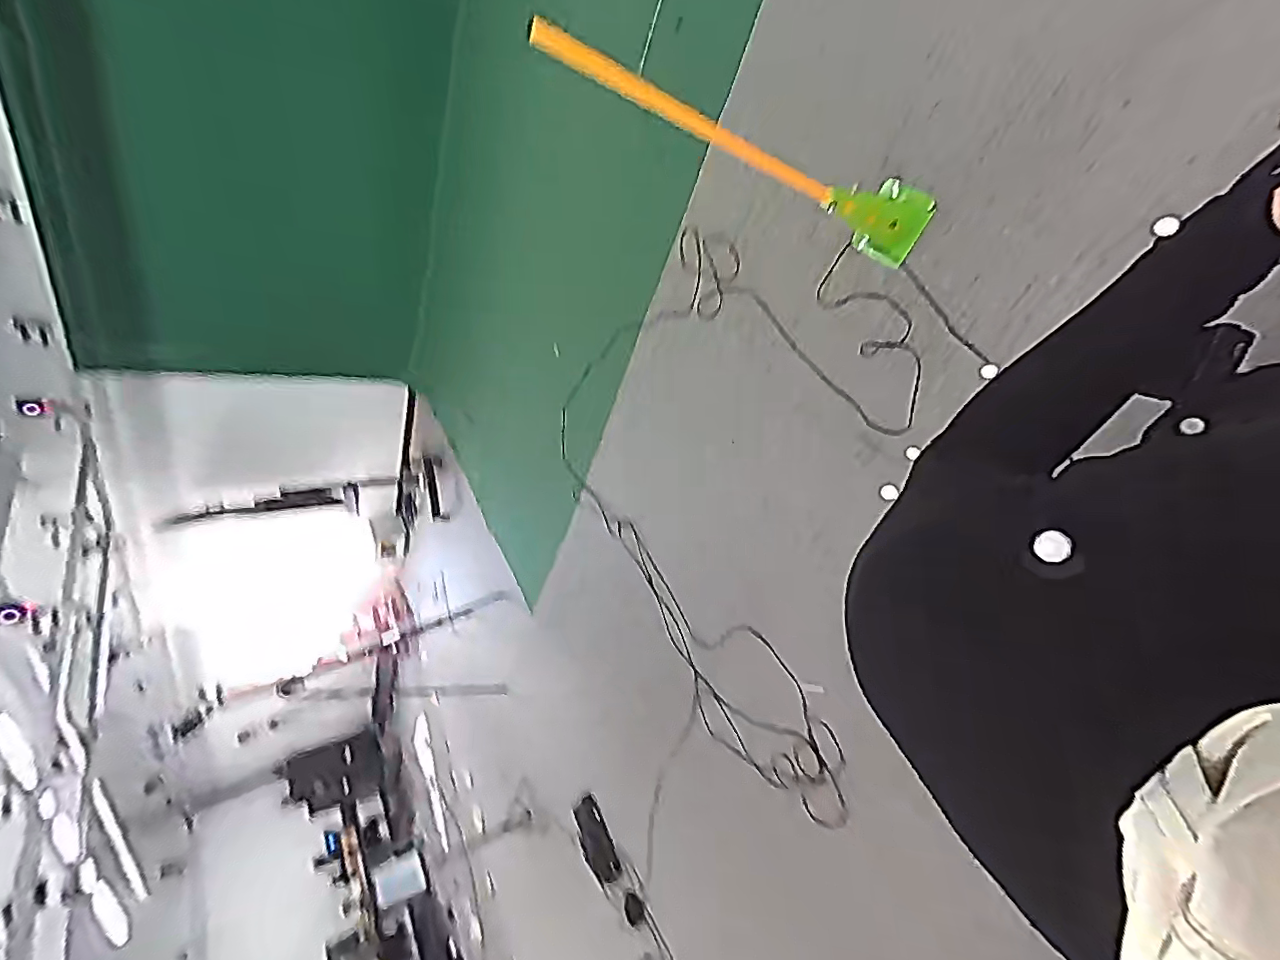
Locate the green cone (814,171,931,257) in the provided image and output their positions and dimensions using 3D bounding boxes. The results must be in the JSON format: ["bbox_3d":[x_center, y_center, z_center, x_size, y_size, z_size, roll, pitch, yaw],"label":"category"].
[{"bbox_3d":[0.619,-0.792,1.542,0.200,0.368,0.202,53,134,34],"label":"green cone"}]
